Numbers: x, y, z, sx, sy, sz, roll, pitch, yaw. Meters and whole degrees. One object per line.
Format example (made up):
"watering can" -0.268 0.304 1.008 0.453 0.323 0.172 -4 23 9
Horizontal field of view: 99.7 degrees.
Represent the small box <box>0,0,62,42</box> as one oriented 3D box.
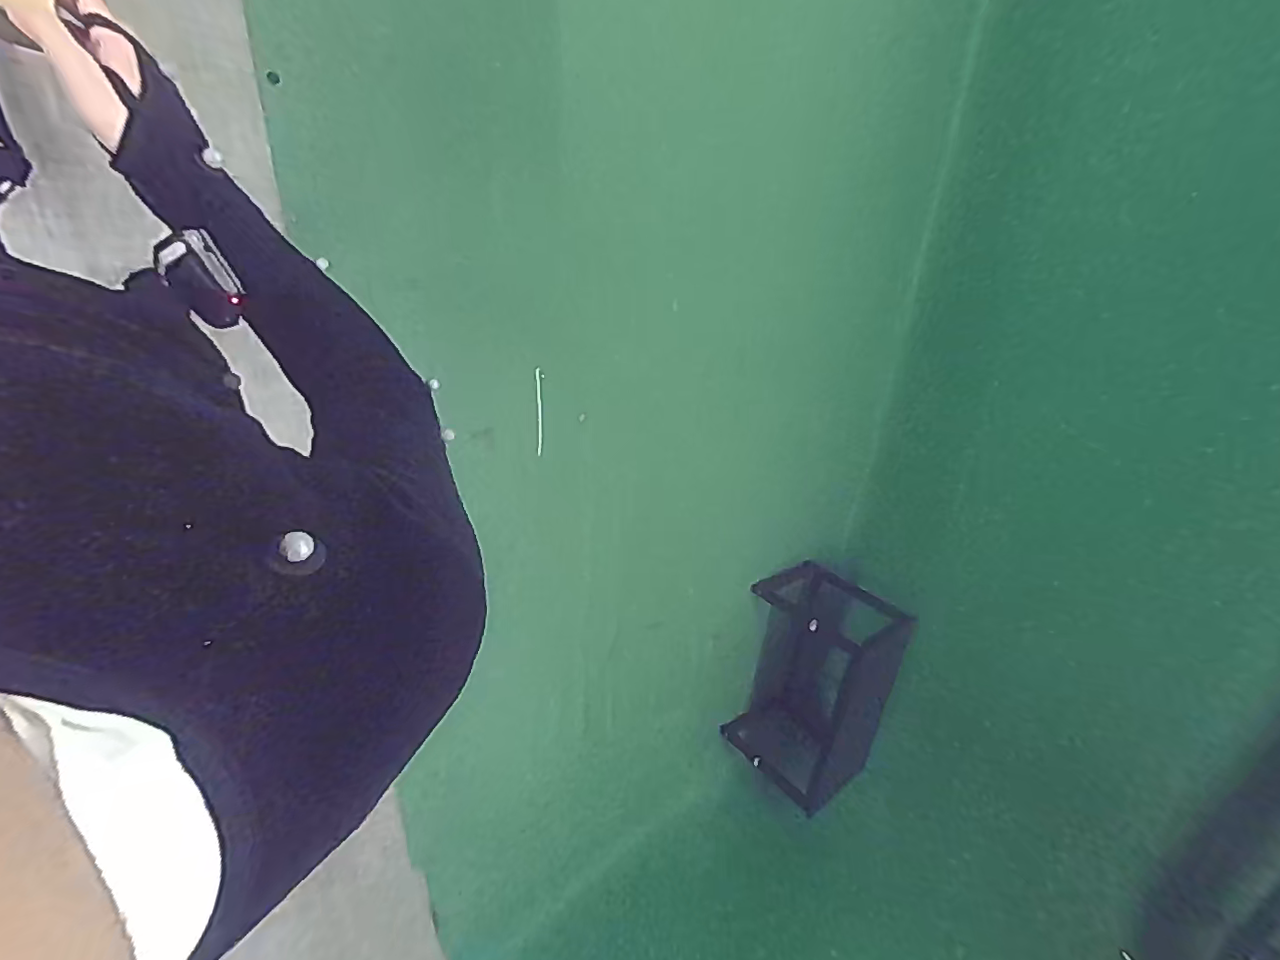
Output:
"small box" -0.516 -0.437 0.358 0.168 0.176 0.179 -7 117 -42
